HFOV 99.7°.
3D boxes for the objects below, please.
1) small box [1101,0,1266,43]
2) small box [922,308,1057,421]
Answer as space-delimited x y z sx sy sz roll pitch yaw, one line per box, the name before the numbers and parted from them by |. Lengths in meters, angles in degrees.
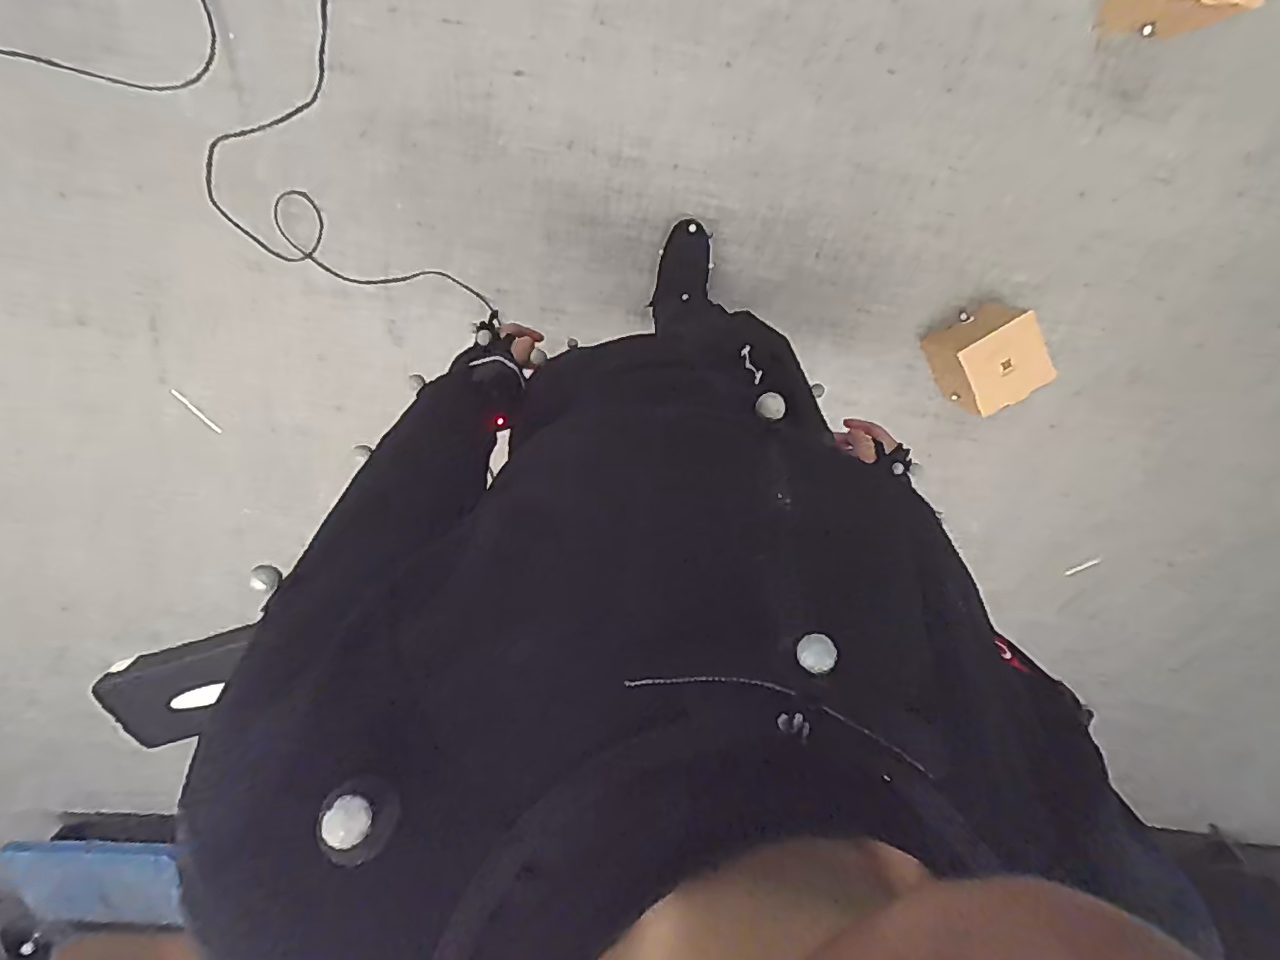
small box | 0.961 -0.898 0.932 0.168 0.176 0.179 6 114 -3
small box | 0.774 -0.265 1.211 0.168 0.176 0.179 -32 109 12
